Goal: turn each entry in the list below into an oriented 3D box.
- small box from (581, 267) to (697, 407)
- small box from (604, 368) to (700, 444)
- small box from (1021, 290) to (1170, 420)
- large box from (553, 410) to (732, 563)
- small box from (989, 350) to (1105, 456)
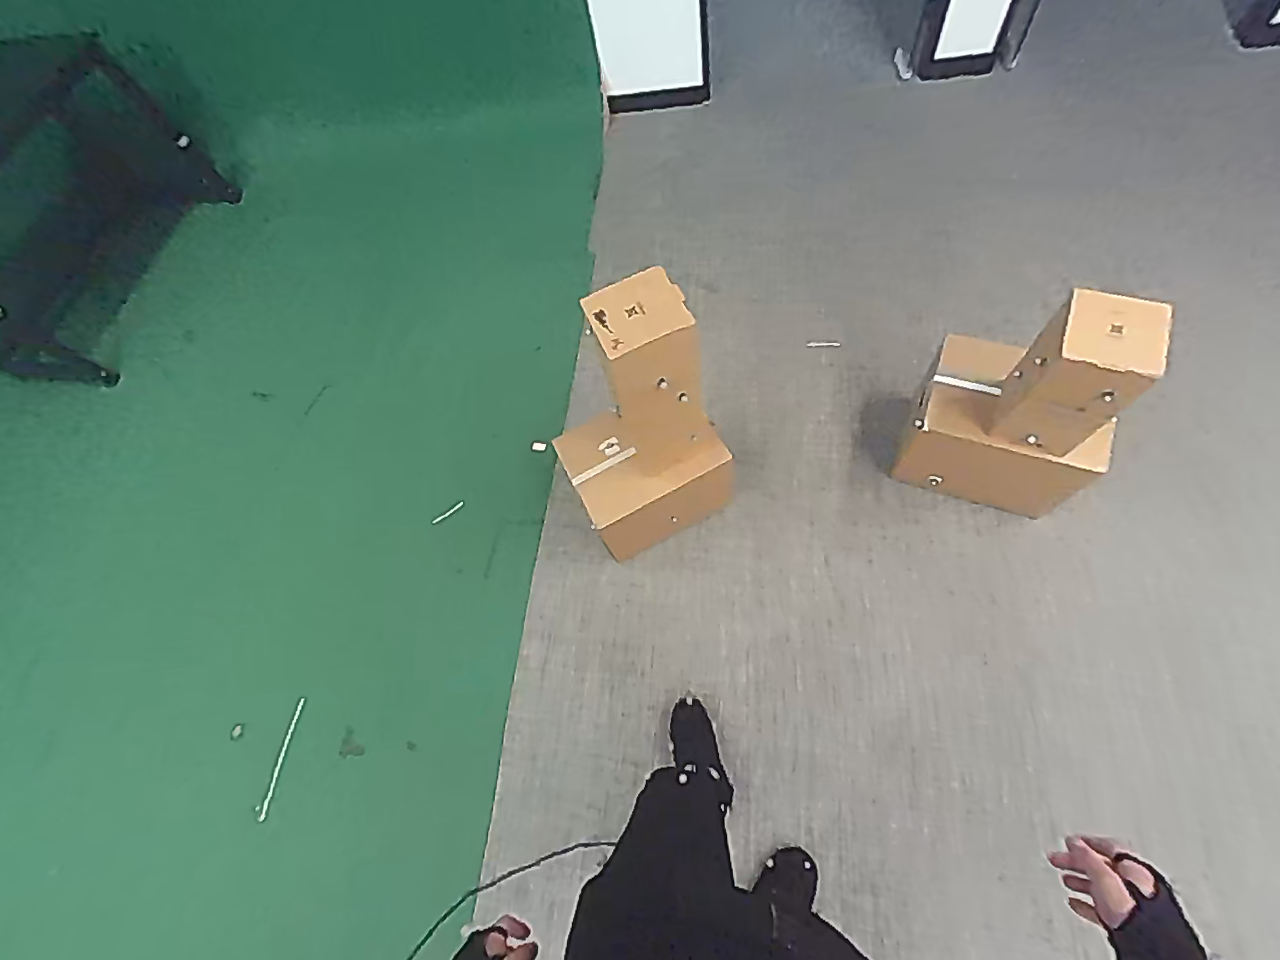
[{"bbox_3d":[0.003,-0.277,1.072,0.179,0.176,0.168,-24,63,-3],"label":"small box"},{"bbox_3d":[0.026,-0.211,1.221,0.179,0.176,0.168,-24,63,-2],"label":"small box"},{"bbox_3d":[0.905,-0.246,1.090,0.168,0.176,0.179,19,70,17],"label":"small box"},{"bbox_3d":[0.021,-0.016,1.589,0.408,0.320,0.320,-29,62,-3],"label":"large box"},{"bbox_3d":[0.935,-0.184,1.238,0.168,0.176,0.179,21,72,18],"label":"small box"}]
